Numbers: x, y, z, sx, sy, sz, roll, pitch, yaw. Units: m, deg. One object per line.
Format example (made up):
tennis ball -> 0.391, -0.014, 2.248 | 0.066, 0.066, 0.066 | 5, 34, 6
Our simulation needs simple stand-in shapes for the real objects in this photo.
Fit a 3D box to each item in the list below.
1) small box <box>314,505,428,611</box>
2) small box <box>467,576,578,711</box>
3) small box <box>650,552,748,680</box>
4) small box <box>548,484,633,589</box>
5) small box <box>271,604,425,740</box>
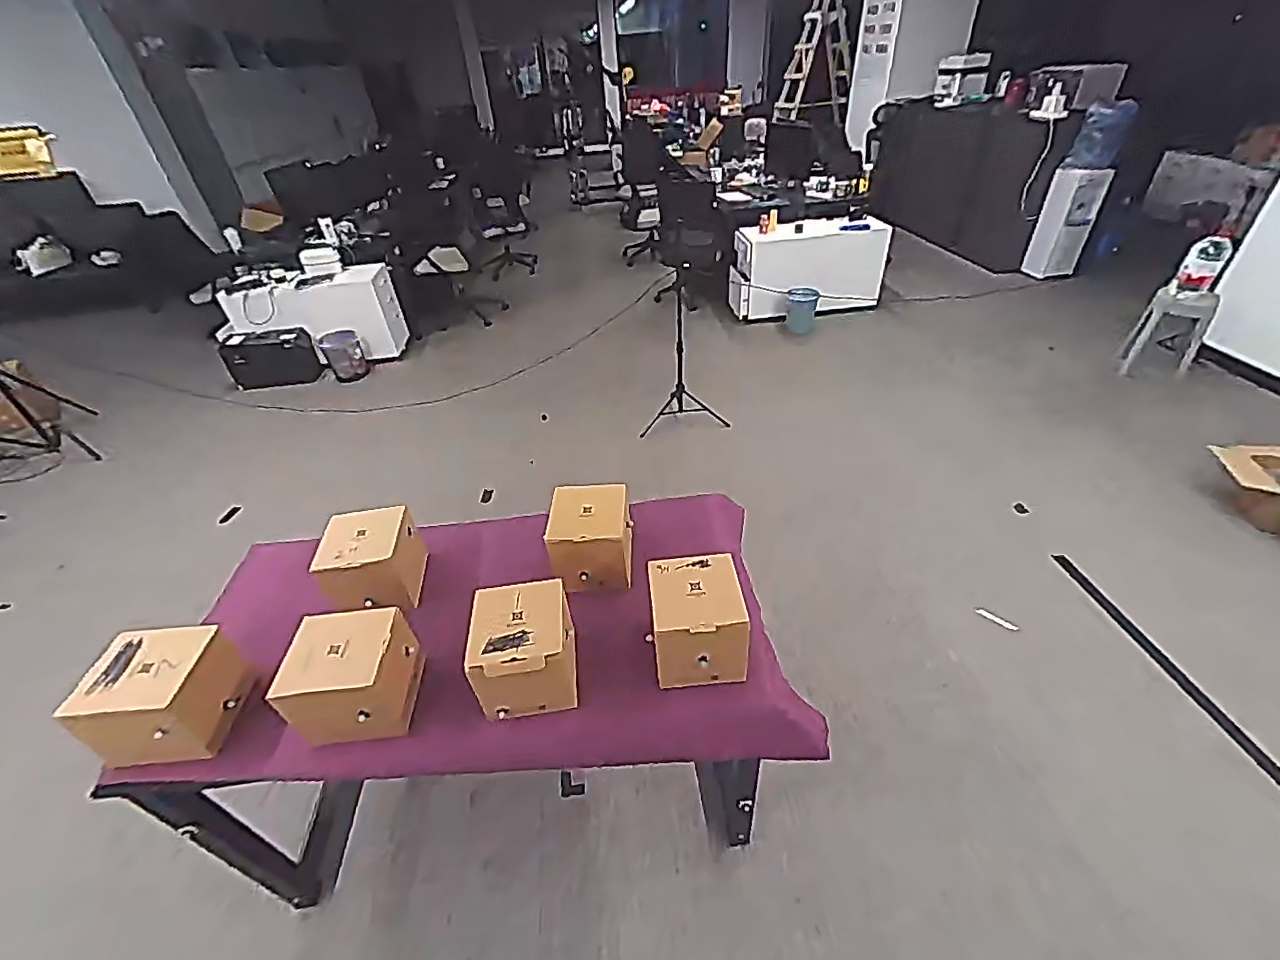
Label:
small box -> -0.590, 0.182, 1.216 | 0.168, 0.176, 0.179 | -8, 38, -5
small box -> -0.209, 0.309, 1.009 | 0.168, 0.176, 0.179 | -7, 37, -3
small box -> 0.109, 0.263, 1.032 | 0.168, 0.176, 0.179 | -5, 36, 0
small box -> -0.105, 0.129, 1.235 | 0.168, 0.176, 0.179 | -3, 39, 3
small box -> -0.515, 0.351, 0.988 | 0.179, 0.176, 0.168 | -5, 37, -2
